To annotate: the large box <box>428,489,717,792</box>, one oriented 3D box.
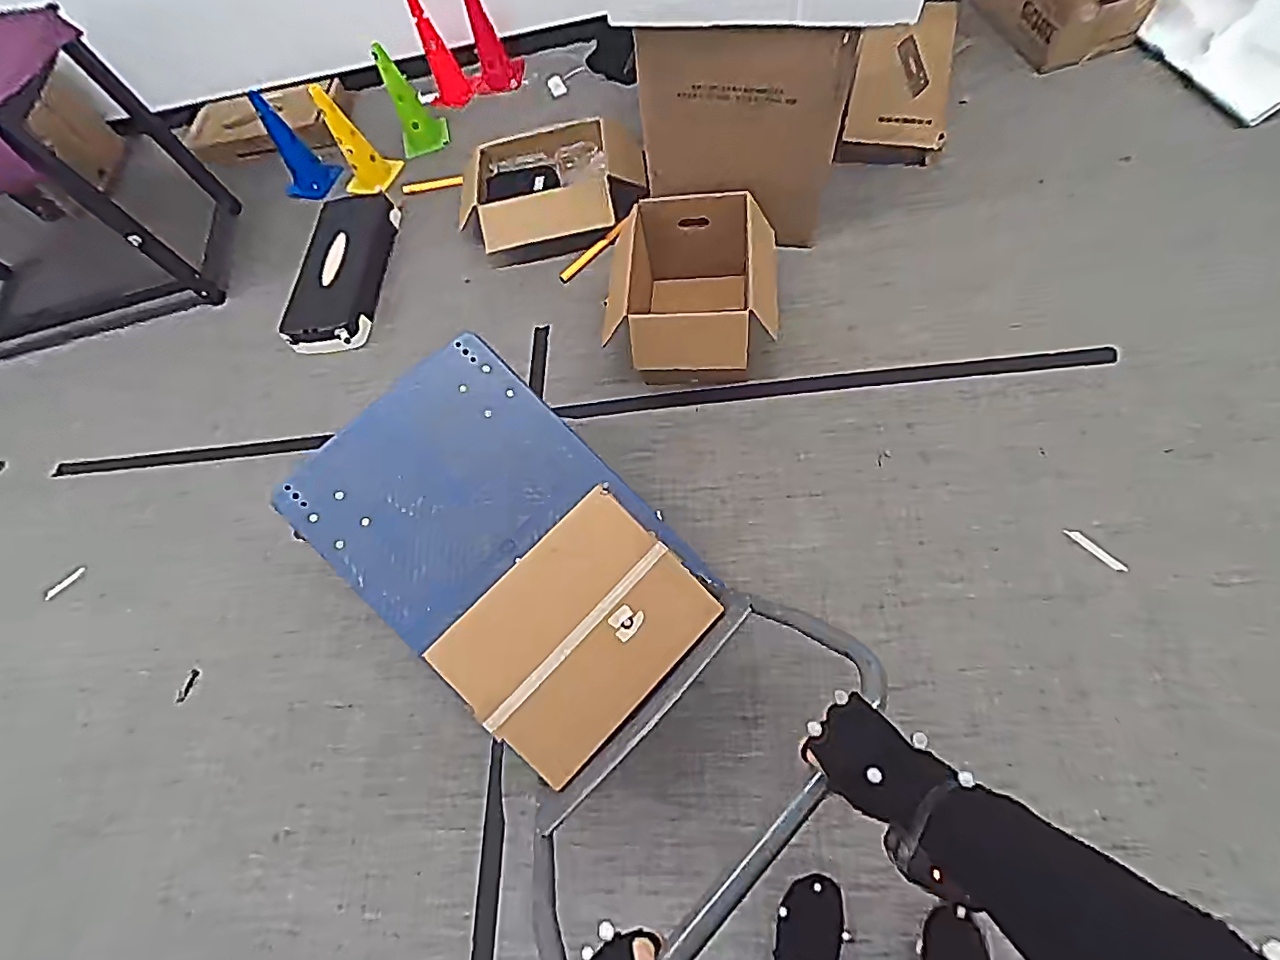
[{"bbox_3d":[-0.123,0.284,1.049,0.320,0.320,0.408,45,78,0],"label":"large box"}]
